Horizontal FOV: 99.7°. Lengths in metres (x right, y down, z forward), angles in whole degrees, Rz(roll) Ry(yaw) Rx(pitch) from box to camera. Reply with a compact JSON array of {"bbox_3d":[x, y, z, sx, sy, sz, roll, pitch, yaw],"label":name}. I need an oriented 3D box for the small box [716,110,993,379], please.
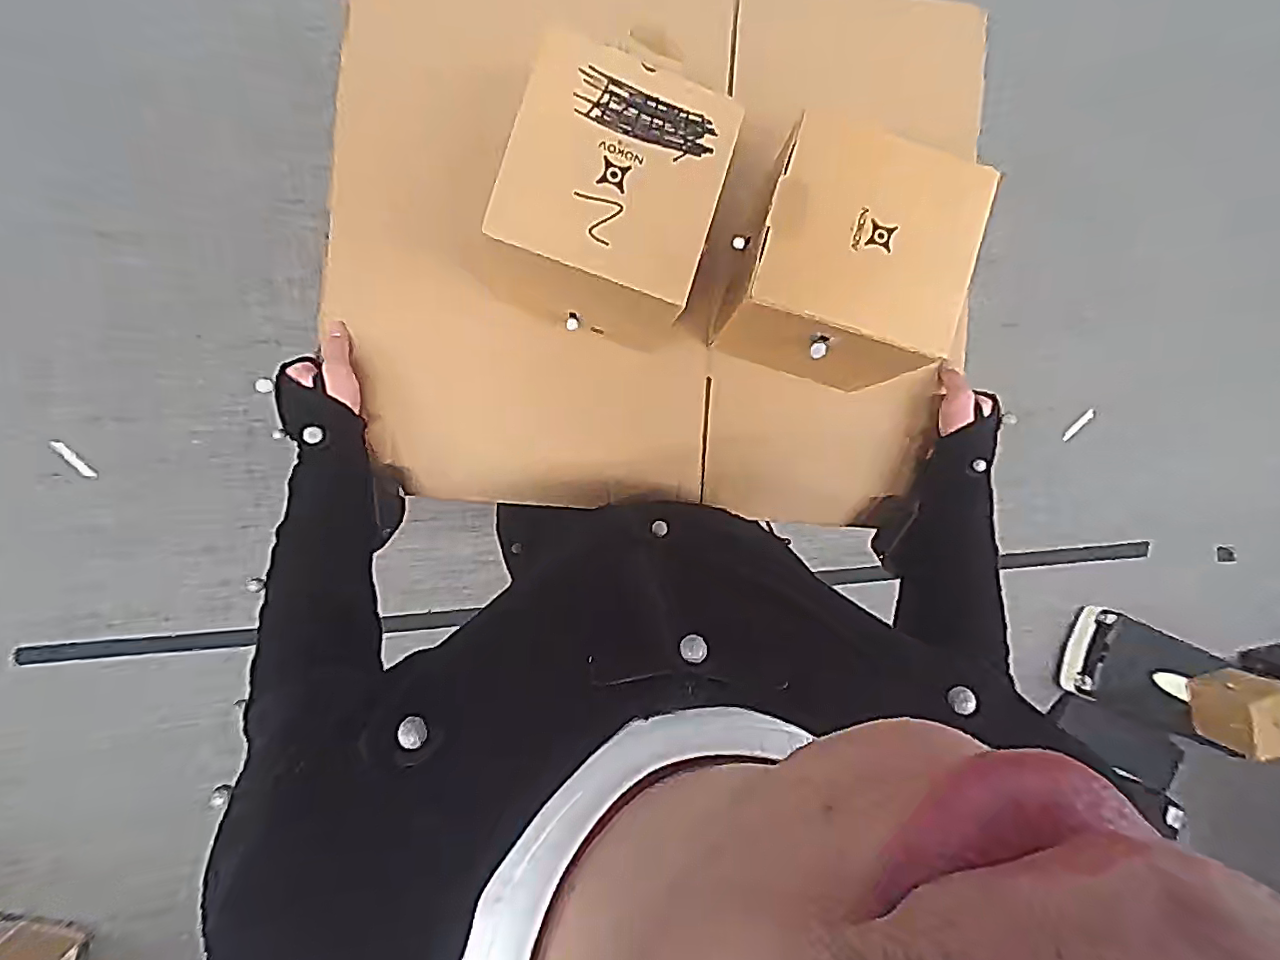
[{"bbox_3d":[0.192,-0.208,0.535,0.179,0.176,0.168,17,89,-2],"label":"small box"}]
